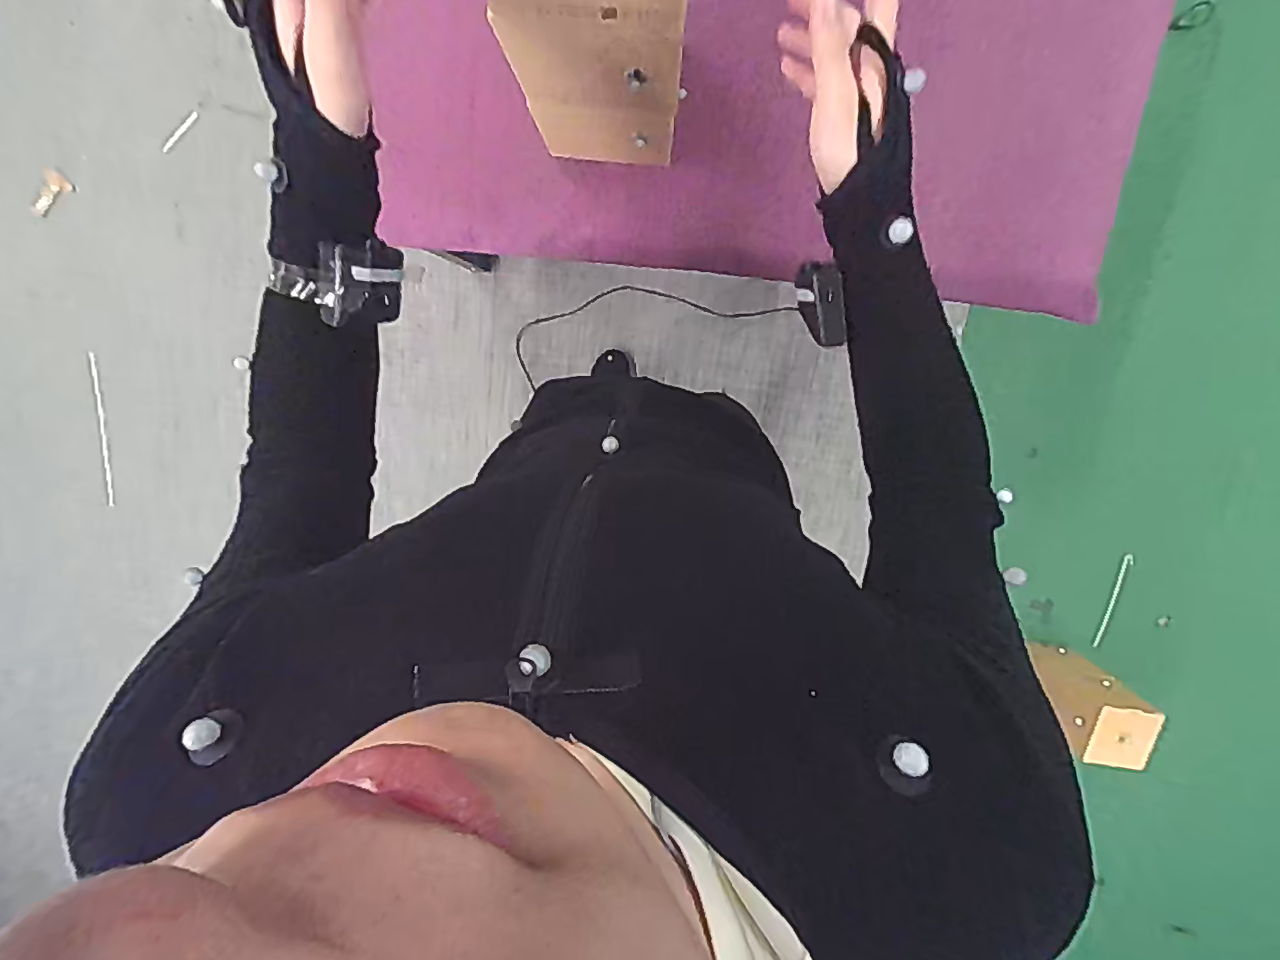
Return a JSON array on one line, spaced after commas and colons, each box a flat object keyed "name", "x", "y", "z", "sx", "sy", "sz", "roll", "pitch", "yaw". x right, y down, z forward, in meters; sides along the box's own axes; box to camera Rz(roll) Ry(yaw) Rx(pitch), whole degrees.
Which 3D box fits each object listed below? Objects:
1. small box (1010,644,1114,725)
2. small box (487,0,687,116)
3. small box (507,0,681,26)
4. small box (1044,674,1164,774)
[{"name": "small box", "x": 1.282, "y": 0.635, "z": 1.659, "sx": 0.168, "sy": 0.176, "sz": 0.179, "roll": 9, "pitch": 104, "yaw": 0}, {"name": "small box", "x": -0.040, "y": -0.492, "z": 0.538, "sx": 0.179, "sy": 0.176, "sz": 0.168, "roll": 6, "pitch": 102, "yaw": 0}, {"name": "small box", "x": -0.043, "y": -0.464, "z": 0.377, "sx": 0.168, "sy": 0.176, "sz": 0.179, "roll": 4, "pitch": 103, "yaw": 0}, {"name": "small box", "x": 1.274, "y": 0.672, "z": 1.501, "sx": 0.168, "sy": 0.176, "sz": 0.179, "roll": 8, "pitch": 103, "yaw": 0}]
